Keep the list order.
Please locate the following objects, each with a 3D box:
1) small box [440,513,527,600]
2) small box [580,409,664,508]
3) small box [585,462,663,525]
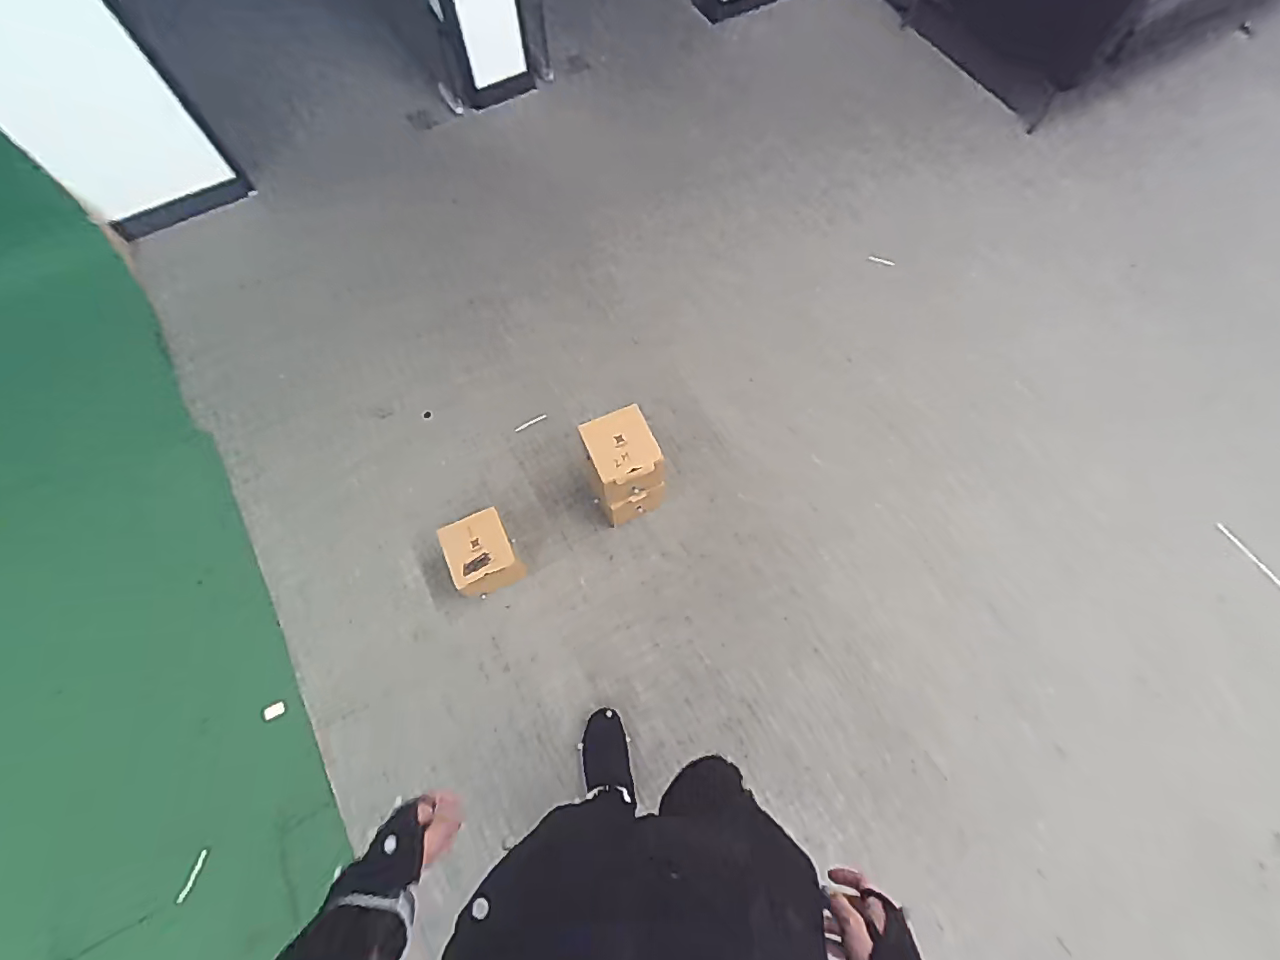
[{"bbox_3d":[-0.426,0.220,1.501,0.168,0.176,0.179,-23,69,-11],"label":"small box"},{"bbox_3d":[-0.048,-0.053,1.421,0.168,0.176,0.179,-22,70,-8],"label":"small box"},{"bbox_3d":[-0.045,0.017,1.571,0.168,0.176,0.179,-26,71,-11],"label":"small box"}]
